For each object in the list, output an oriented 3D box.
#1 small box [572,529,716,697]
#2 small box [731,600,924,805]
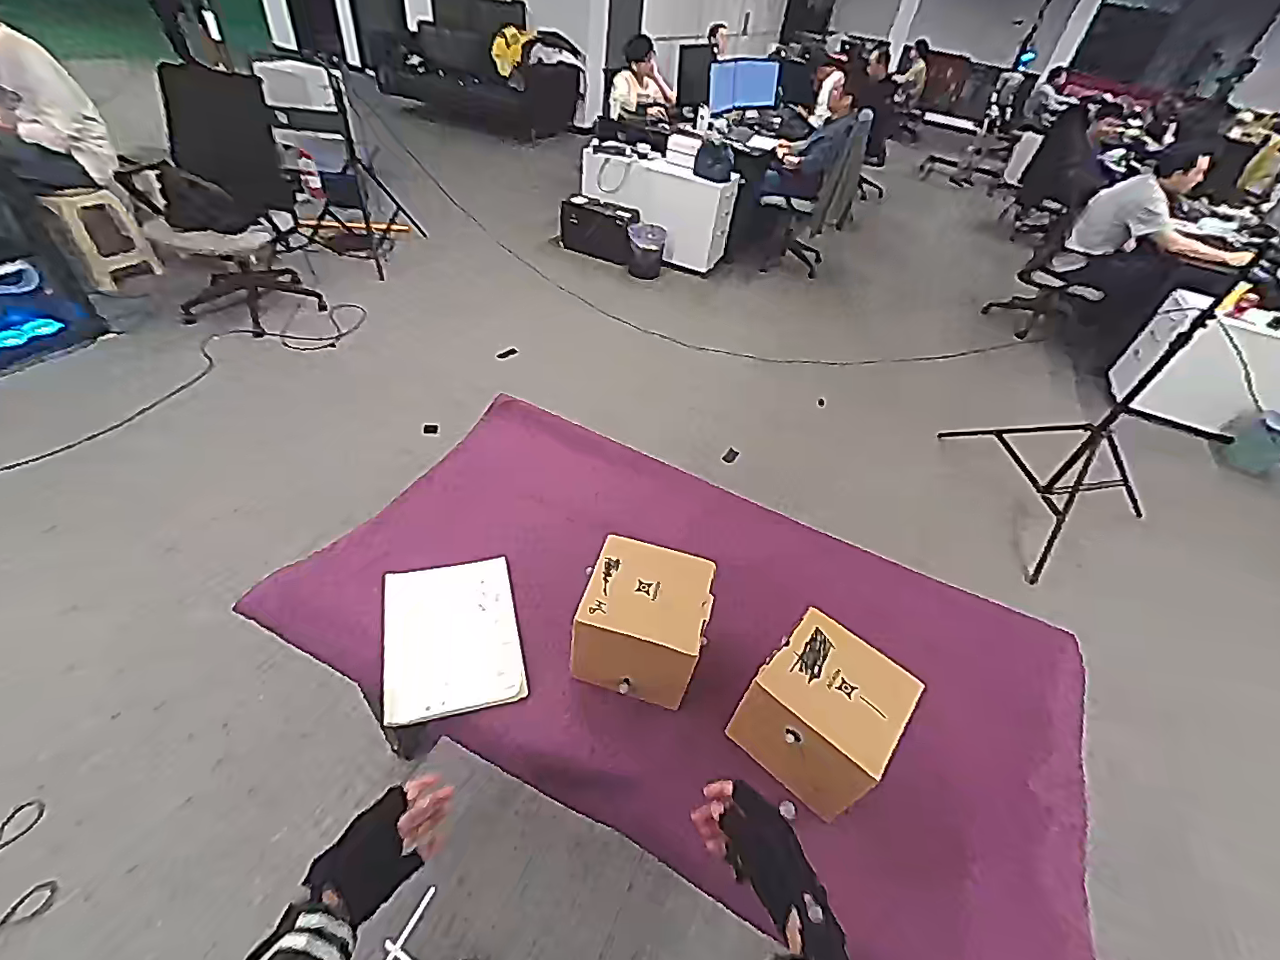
[{"bbox_3d":[0.004,0.208,0.833,0.179,0.176,0.168,15,42,6],"label":"small box"},{"bbox_3d":[0.253,0.312,0.761,0.179,0.176,0.168,35,48,25],"label":"small box"}]
